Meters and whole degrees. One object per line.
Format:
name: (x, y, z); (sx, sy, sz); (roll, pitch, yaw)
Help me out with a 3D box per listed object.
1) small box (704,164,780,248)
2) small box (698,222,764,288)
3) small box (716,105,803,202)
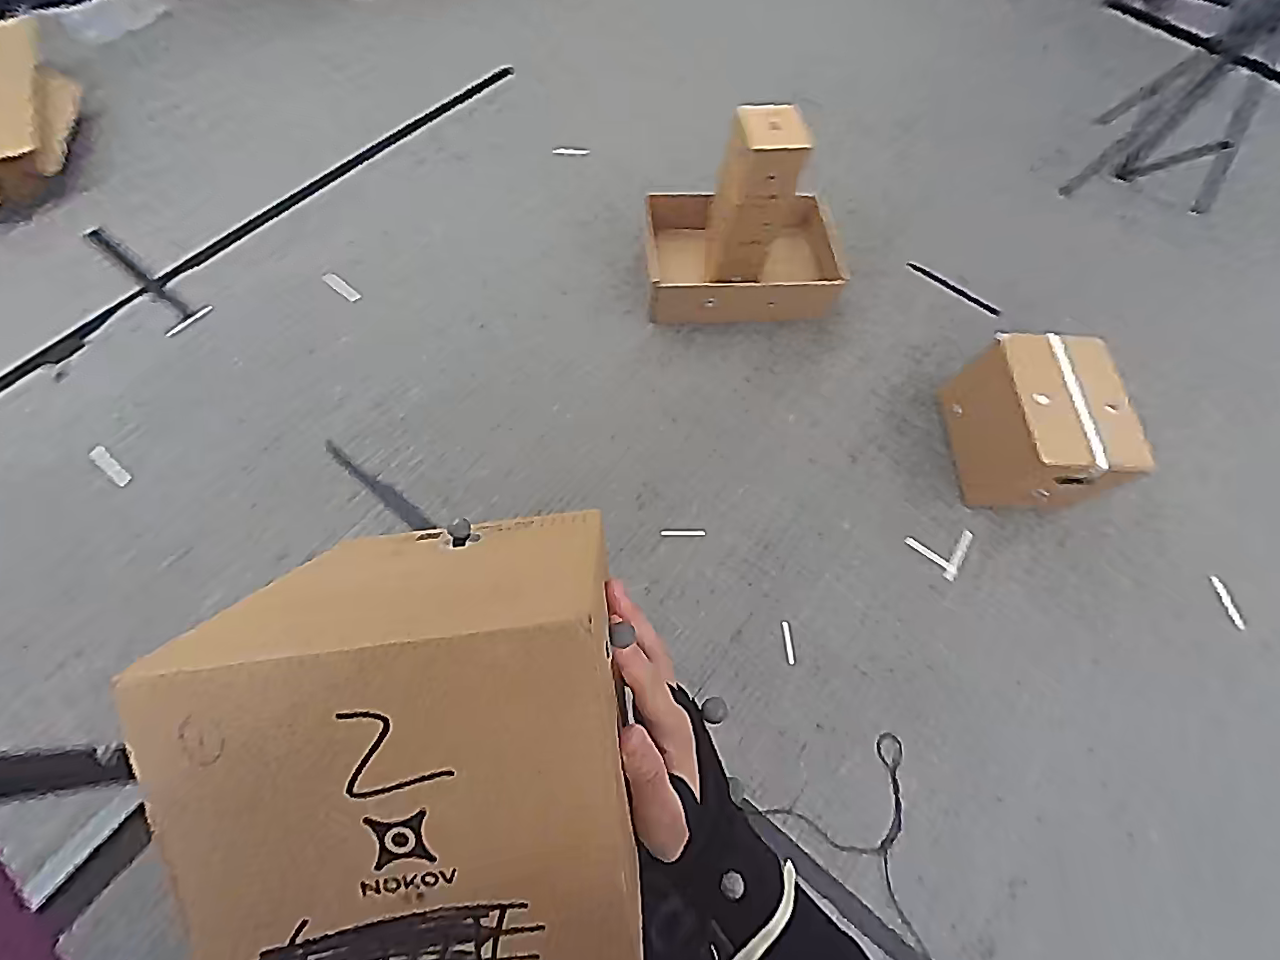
small box: (0.302, -0.827, 1.641); (0.168, 0.176, 0.179); (-7, 66, -10)
small box: (0.295, -0.761, 1.789); (0.168, 0.176, 0.179); (-4, 67, -7)
small box: (0.322, -0.893, 1.490); (0.168, 0.176, 0.179); (-8, 68, -10)
